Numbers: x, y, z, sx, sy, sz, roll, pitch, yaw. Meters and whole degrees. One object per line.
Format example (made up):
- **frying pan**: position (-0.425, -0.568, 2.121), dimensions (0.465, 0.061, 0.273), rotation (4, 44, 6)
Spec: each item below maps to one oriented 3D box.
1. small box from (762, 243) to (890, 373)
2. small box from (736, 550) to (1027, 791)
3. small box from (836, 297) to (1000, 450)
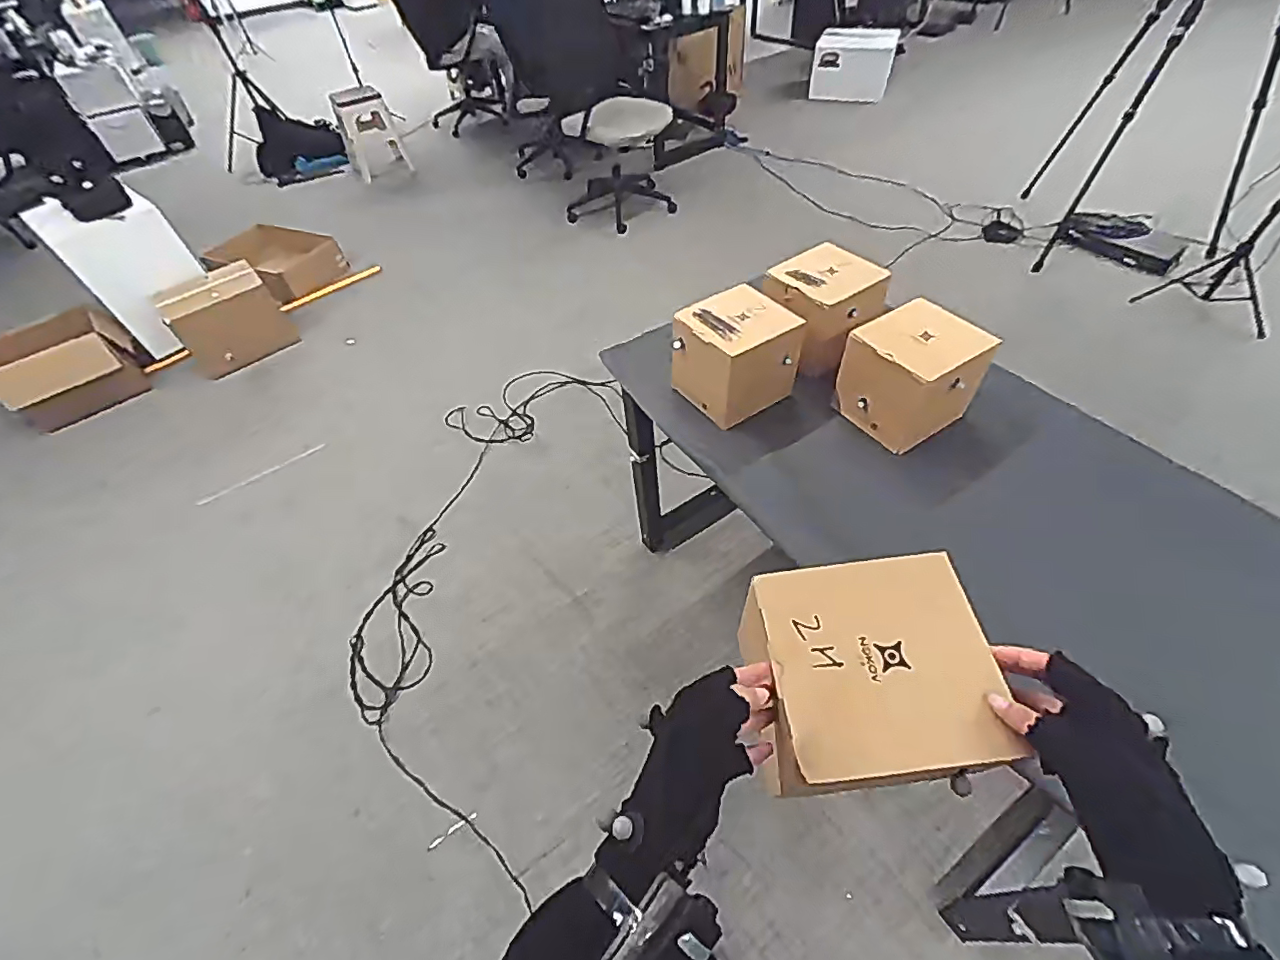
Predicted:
- **small box**: position (0.365, -0.346, 1.097), dimensions (0.179, 0.176, 0.168), rotation (-30, 54, -19)
- **small box**: position (0.196, 0.183, 0.503), dimensions (0.179, 0.176, 0.168), rotation (-8, 56, 0)
- **small box**: position (0.476, -0.186, 0.957), dimensions (0.179, 0.176, 0.168), rotation (-29, 54, -16)
